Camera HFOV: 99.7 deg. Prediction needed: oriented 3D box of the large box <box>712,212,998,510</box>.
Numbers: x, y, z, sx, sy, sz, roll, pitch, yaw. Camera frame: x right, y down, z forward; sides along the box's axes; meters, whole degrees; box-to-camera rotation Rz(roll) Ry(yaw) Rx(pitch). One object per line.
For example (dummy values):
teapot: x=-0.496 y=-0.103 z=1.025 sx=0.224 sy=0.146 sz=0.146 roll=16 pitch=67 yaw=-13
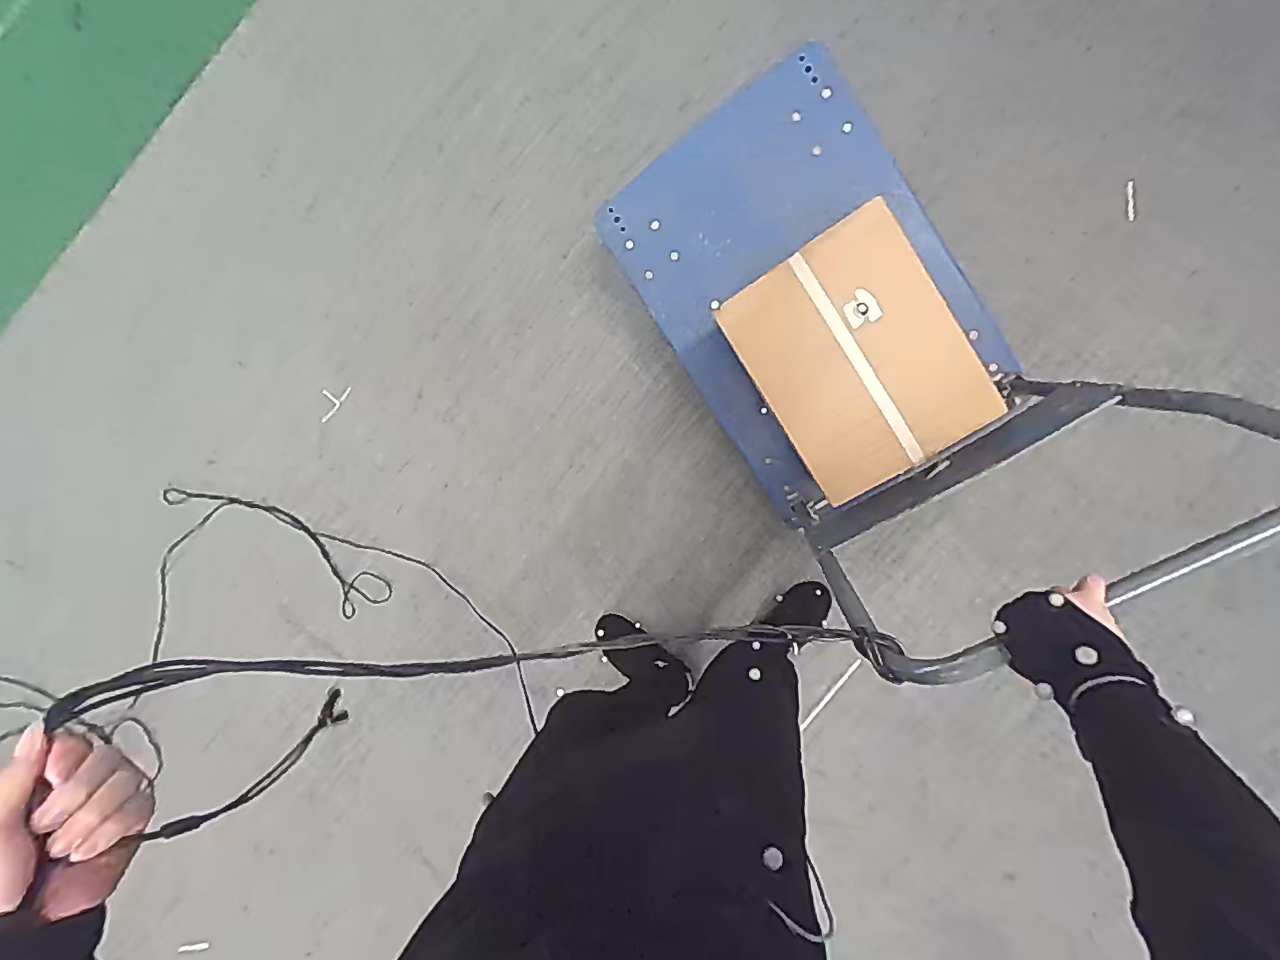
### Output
large box: x=0.383 y=-0.211 z=1.046 sx=0.320 sy=0.320 sz=0.408 roll=-30 pitch=92 yaw=14
